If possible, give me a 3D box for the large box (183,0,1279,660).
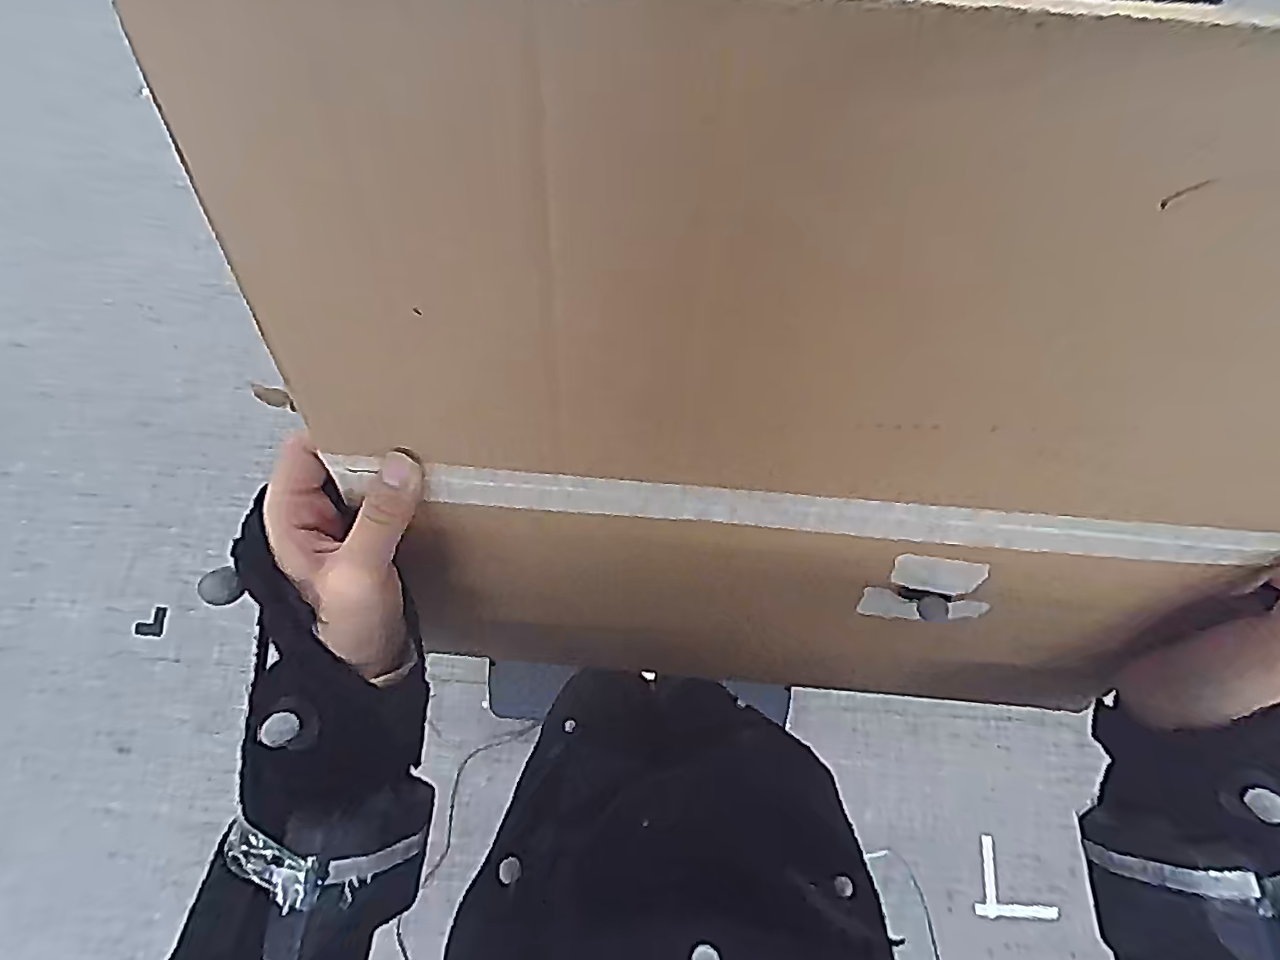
[{"bbox_3d":[0.083,-0.116,0.331,0.408,0.320,0.320,3,44,1],"label":"large box"}]
